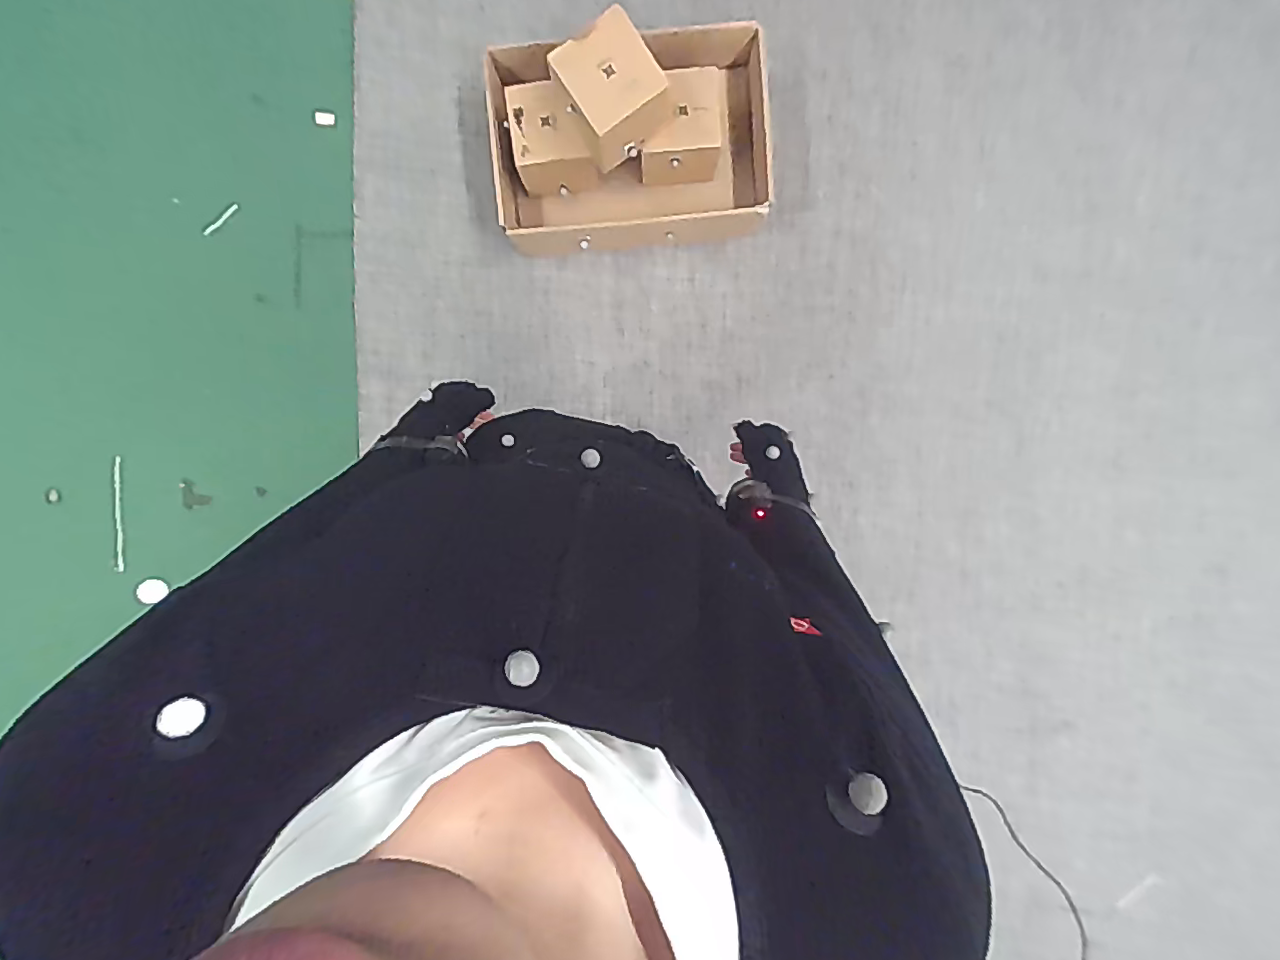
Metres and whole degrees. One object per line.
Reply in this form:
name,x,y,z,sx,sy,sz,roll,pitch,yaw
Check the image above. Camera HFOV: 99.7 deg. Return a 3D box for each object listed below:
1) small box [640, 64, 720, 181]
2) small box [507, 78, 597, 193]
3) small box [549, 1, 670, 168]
small box,0.085,-0.810,1.242,0.179,0.176,0.168,-4,96,1
small box,-0.195,-0.786,1.245,0.179,0.176,0.168,-8,95,-1
small box,-0.059,-0.778,1.085,0.168,0.176,0.179,-35,96,4
